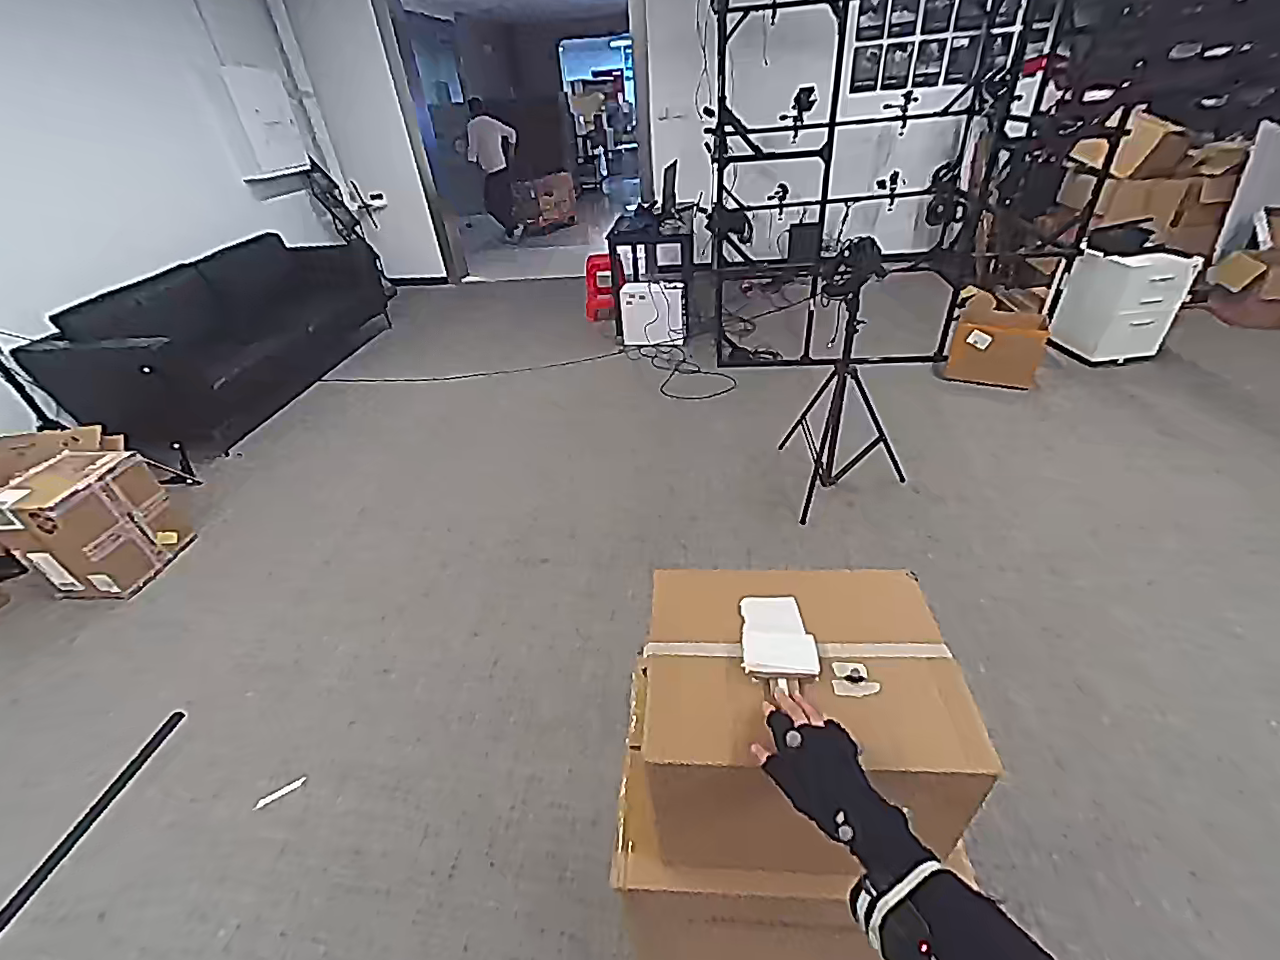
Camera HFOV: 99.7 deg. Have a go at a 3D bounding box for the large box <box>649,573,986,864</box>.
[{"bbox_3d":[0.222,0.363,0.846,0.408,0.320,0.320,-1,36,5],"label":"large box"}]
